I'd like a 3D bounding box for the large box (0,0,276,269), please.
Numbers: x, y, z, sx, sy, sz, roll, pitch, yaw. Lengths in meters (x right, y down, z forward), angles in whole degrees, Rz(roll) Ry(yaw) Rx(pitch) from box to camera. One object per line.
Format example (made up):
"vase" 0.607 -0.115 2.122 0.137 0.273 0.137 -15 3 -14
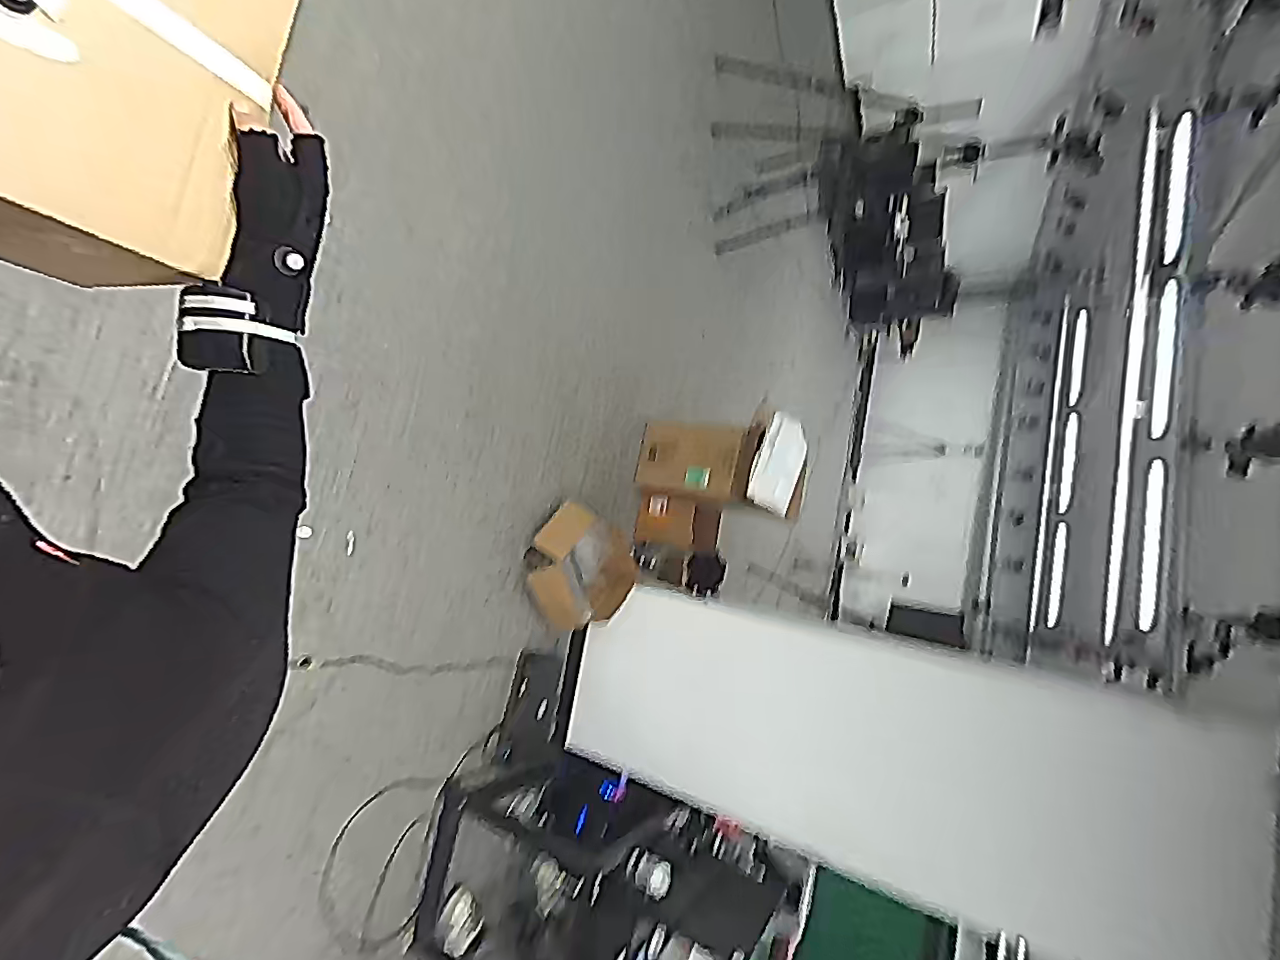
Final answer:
"large box" -0.540 -0.374 0.344 0.408 0.320 0.320 16 86 -61
